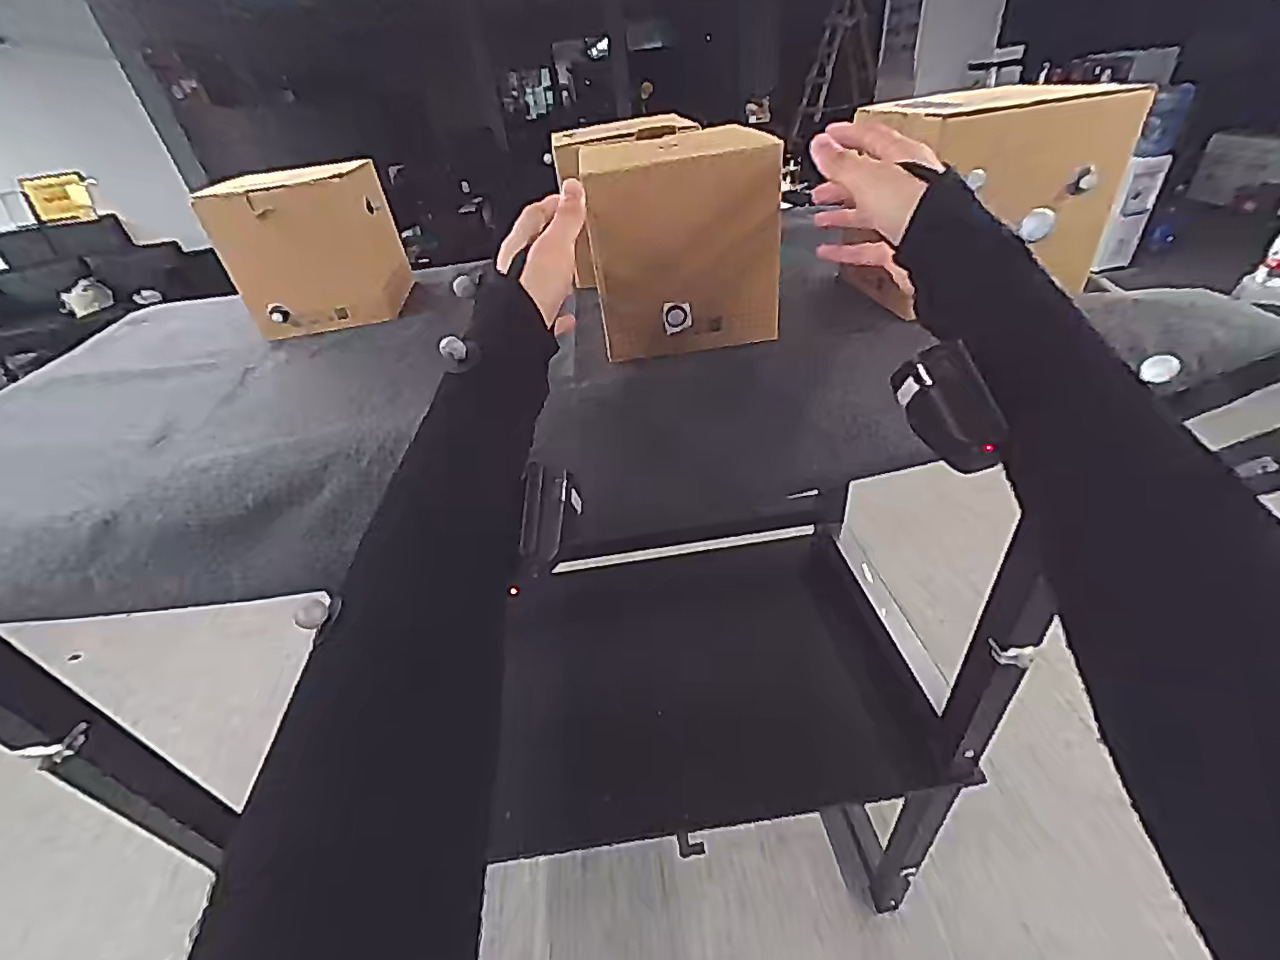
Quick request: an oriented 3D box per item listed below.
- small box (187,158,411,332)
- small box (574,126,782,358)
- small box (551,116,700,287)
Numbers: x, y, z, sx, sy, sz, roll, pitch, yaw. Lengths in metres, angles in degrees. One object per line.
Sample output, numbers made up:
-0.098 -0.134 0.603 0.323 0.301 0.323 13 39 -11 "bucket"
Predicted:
-0.419 -0.303 0.705 0.168 0.176 0.179 -11 37 -5 "small box"
0.033 -0.236 0.534 0.168 0.176 0.179 -9 36 1 "small box"
-0.018 -0.374 0.725 0.179 0.176 0.168 -9 37 -2 "small box"
